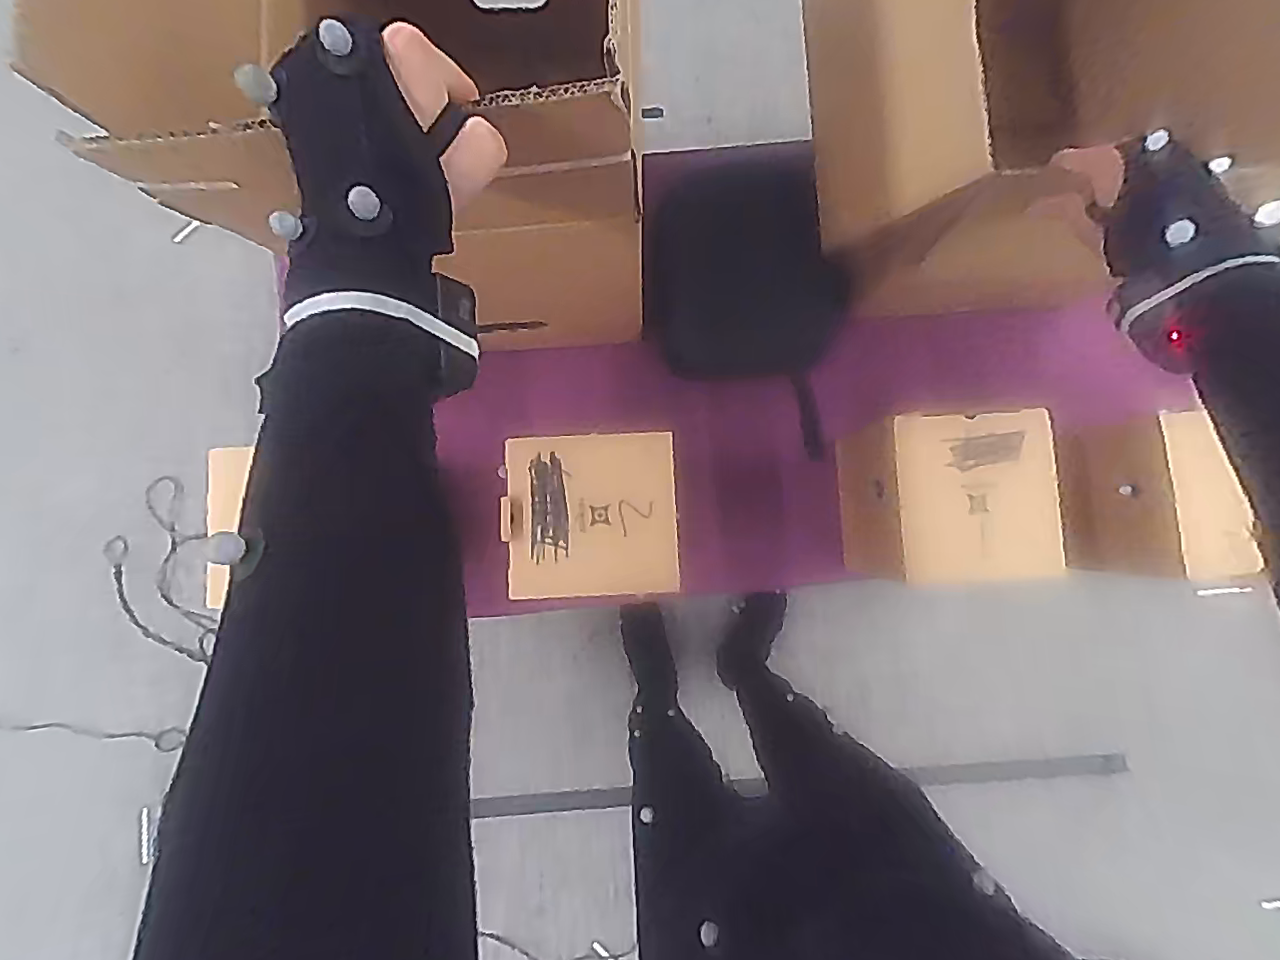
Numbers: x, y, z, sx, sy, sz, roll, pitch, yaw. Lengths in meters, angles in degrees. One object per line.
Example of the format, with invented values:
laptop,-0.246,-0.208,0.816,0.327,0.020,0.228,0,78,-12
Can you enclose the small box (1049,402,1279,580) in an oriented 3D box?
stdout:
small box,0.621,0.018,0.632,0.168,0.176,0.179,-5,85,1

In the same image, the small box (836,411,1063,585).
small box,0.342,0.025,0.632,0.168,0.176,0.179,-3,86,0
